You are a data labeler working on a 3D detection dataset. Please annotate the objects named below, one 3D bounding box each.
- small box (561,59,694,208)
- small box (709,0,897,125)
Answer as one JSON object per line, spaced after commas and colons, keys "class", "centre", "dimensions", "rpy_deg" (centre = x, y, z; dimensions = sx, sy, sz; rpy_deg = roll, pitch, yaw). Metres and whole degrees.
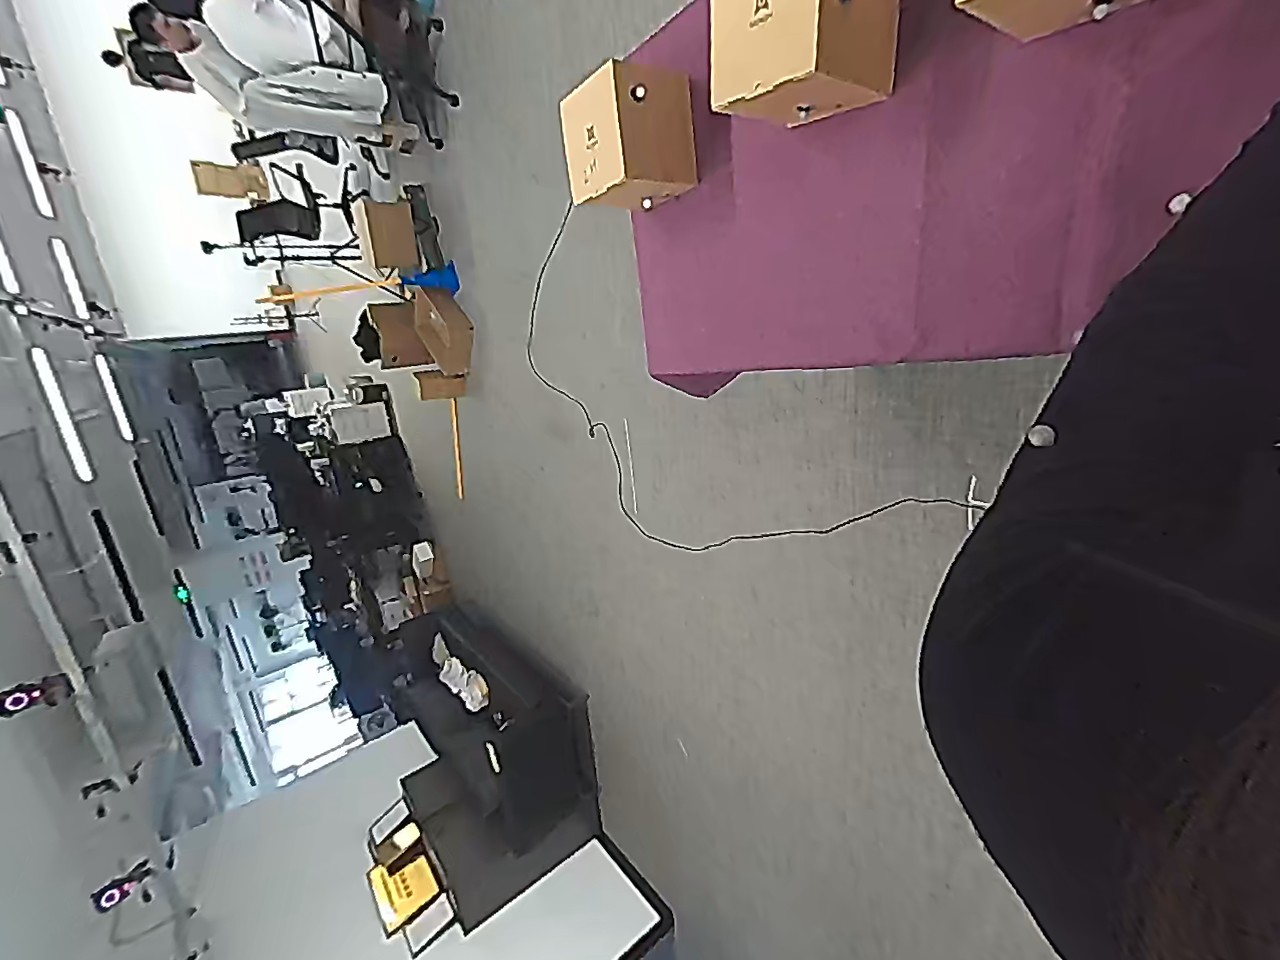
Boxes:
{"class": "small box", "centre": [-0.020, -0.608, 0.978], "dimensions": [0.168, 0.176, 0.179], "rpy_deg": [12, 113, 51]}
{"class": "small box", "centre": [0.206, -0.580, 0.688], "dimensions": [0.168, 0.176, 0.179], "rpy_deg": [22, 122, 48]}
